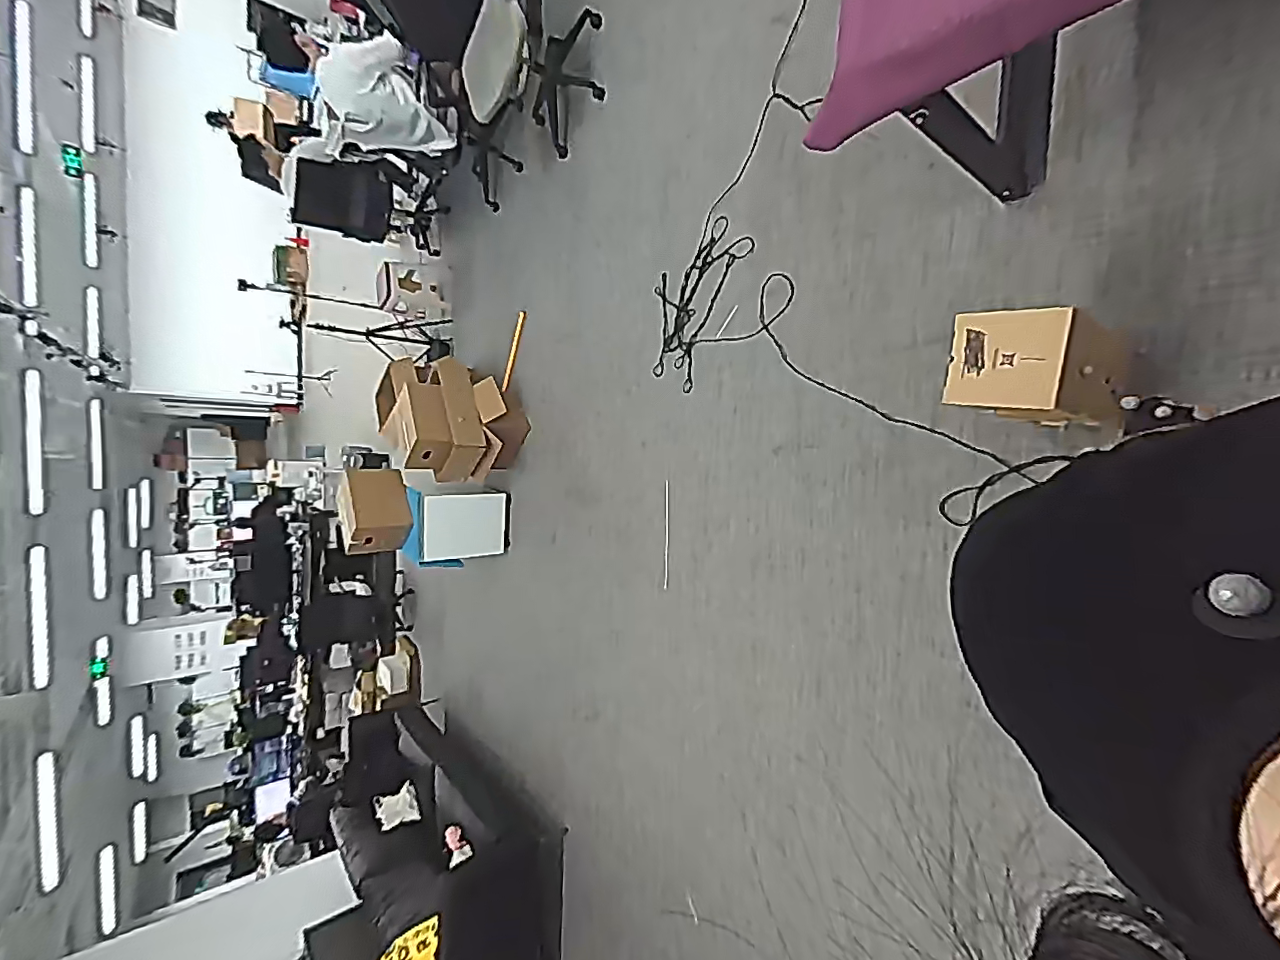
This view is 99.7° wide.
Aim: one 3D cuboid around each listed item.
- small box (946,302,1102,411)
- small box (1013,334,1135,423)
[{"bbox_3d":[0.690,-0.215,0.975,0.179,0.176,0.168,15,102,49],"label":"small box"},{"bbox_3d":[0.949,-0.216,1.180,0.168,0.176,0.179,12,101,50],"label":"small box"}]
